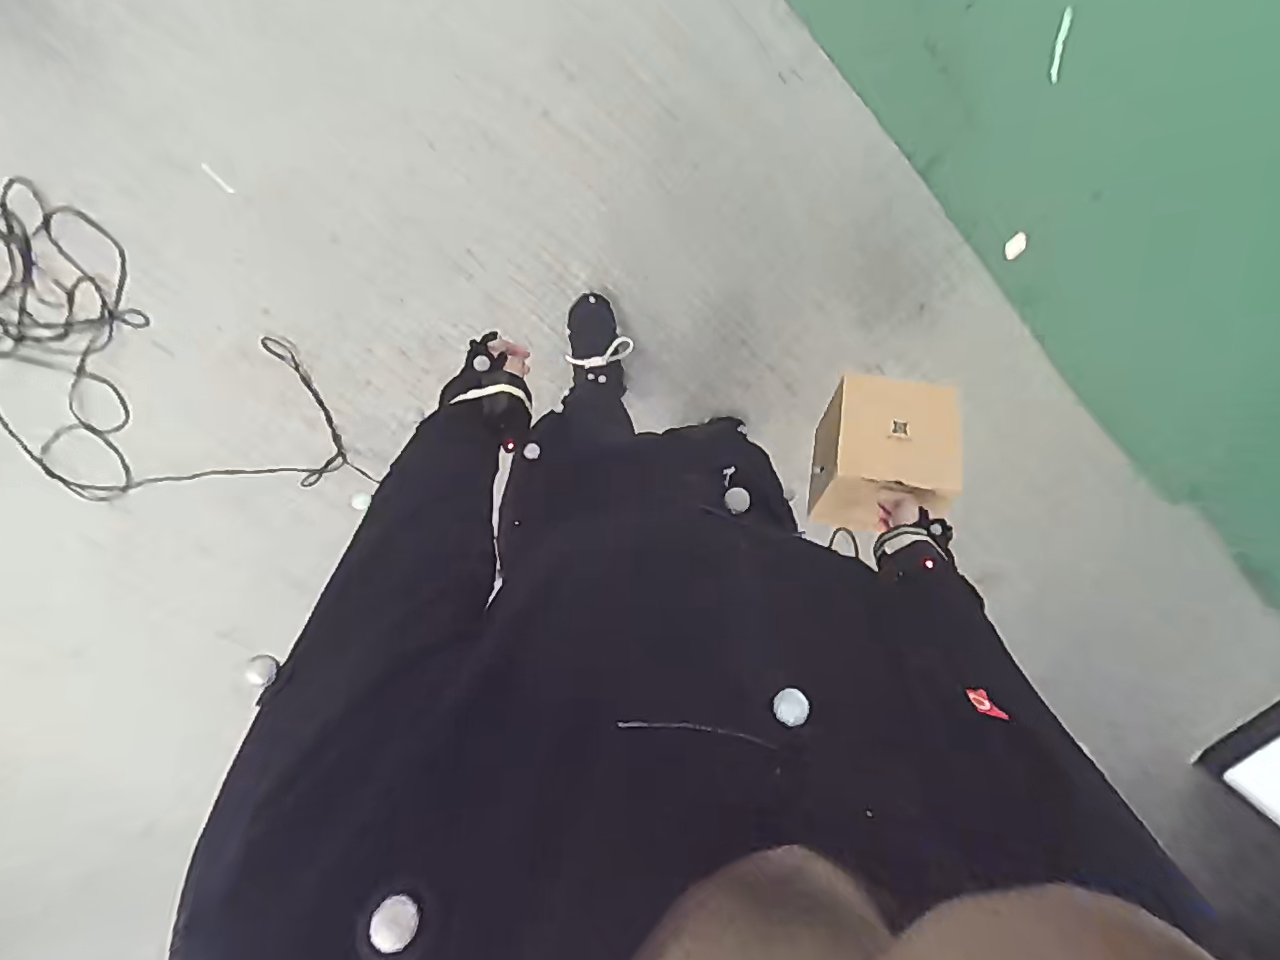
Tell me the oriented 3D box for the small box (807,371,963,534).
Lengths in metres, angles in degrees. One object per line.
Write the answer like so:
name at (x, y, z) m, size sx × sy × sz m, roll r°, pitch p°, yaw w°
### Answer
small box at (0.357, -0.034, 0.811) m, size 0.168 × 0.179 × 0.176 m, roll 10°, pitch 155°, yaw 6°
